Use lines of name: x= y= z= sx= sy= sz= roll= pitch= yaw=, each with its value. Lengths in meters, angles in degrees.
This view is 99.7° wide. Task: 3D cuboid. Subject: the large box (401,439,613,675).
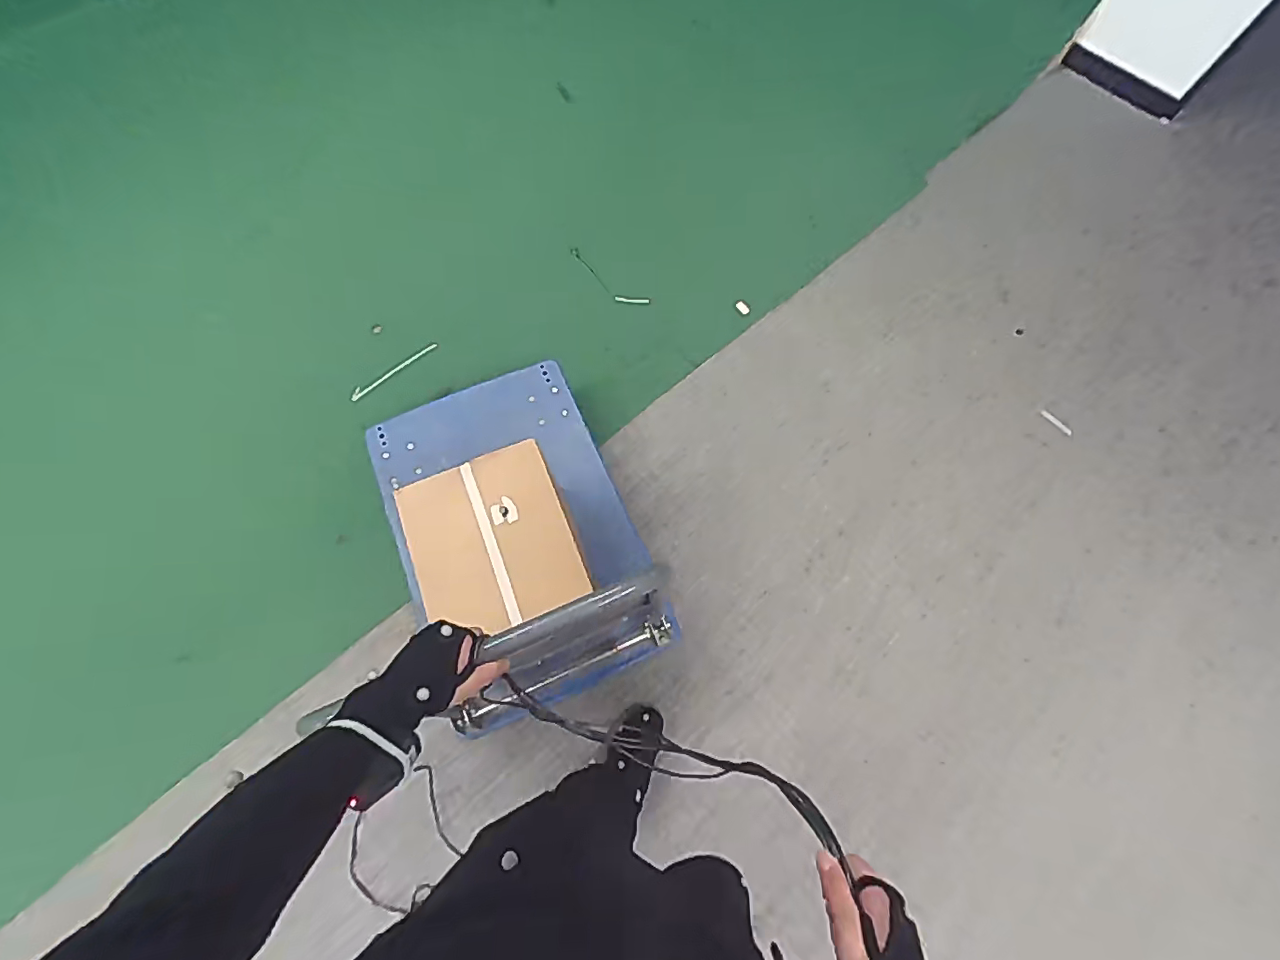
large box: x=-0.282 y=0.188 z=1.227 sx=0.320 sy=0.320 sz=0.408 roll=-21 pitch=70 yaw=-7
